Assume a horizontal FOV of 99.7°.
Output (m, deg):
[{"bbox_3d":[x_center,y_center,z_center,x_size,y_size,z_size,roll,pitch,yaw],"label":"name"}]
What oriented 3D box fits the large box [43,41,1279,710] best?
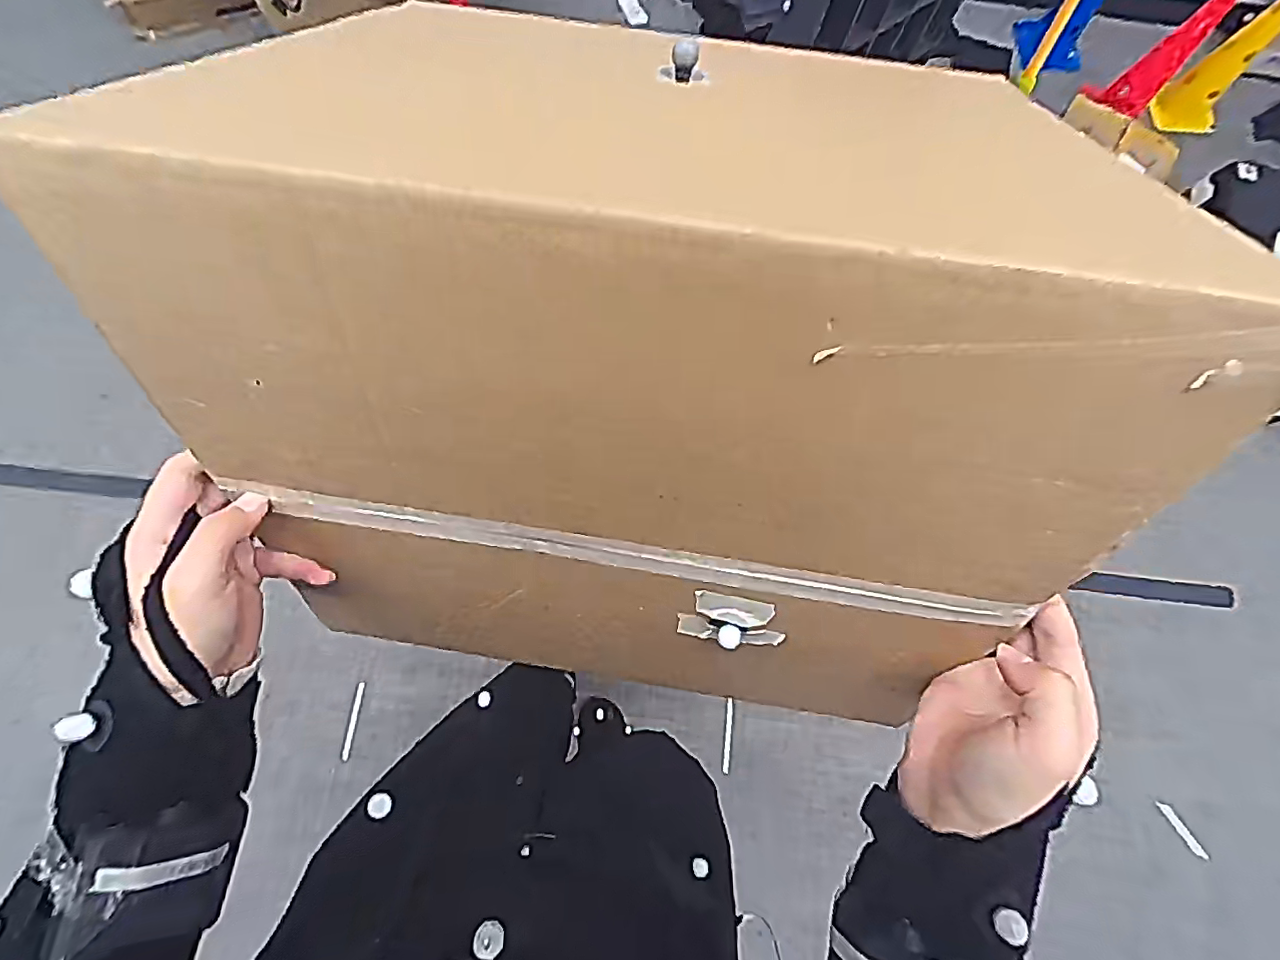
[{"bbox_3d":[0.004,-0.077,0.378,0.408,0.320,0.320,8,48,2],"label":"large box"}]
